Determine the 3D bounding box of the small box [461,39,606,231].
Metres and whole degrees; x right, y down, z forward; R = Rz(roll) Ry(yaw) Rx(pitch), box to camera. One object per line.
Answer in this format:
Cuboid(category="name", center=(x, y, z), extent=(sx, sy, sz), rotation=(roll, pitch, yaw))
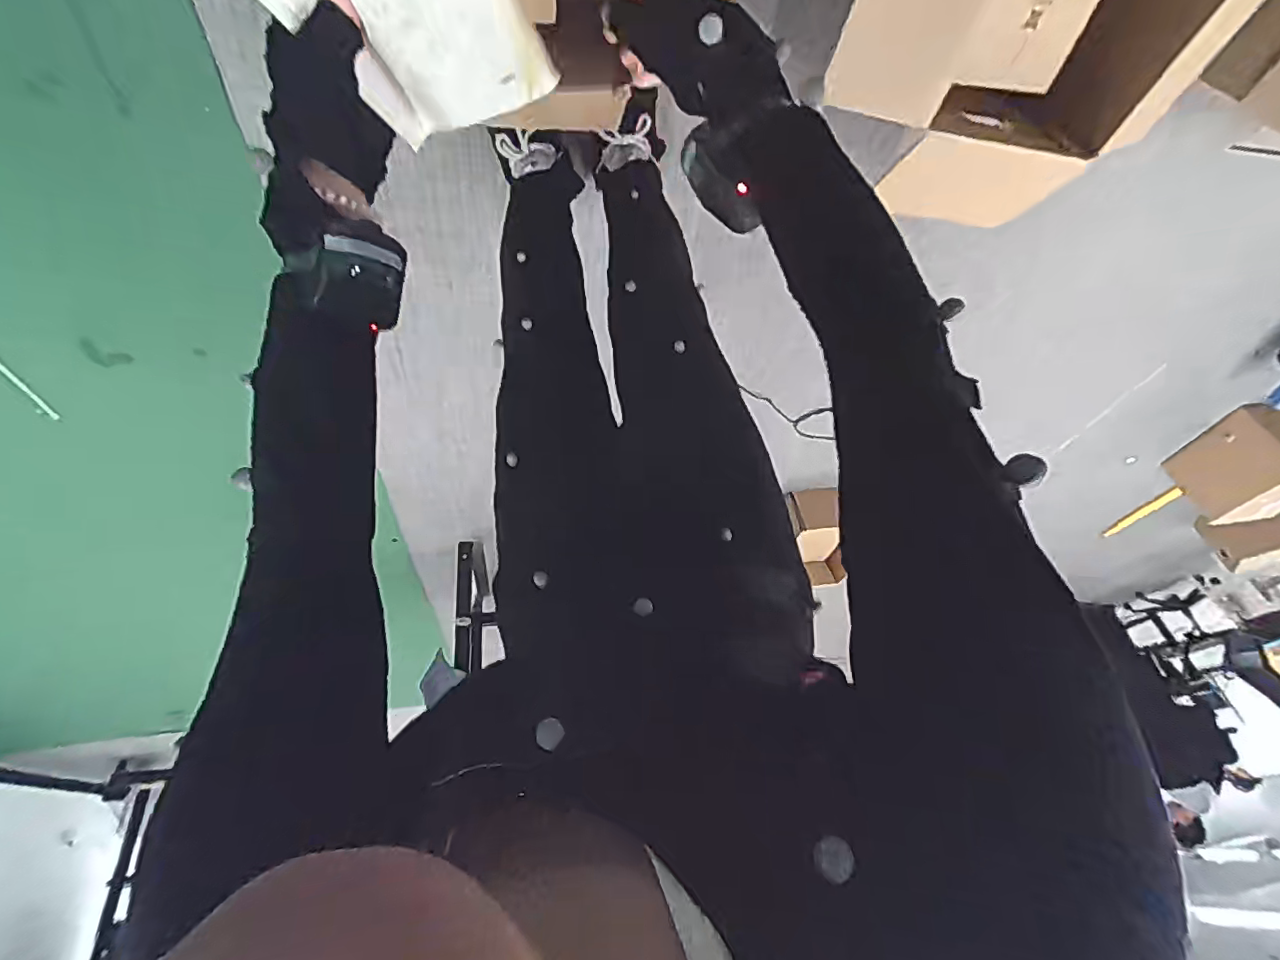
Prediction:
Cuboid(category="small box", center=(-0.177, -0.552, 0.879), extent=(0.179, 0.176, 0.168), rotation=(22, 148, -15))
